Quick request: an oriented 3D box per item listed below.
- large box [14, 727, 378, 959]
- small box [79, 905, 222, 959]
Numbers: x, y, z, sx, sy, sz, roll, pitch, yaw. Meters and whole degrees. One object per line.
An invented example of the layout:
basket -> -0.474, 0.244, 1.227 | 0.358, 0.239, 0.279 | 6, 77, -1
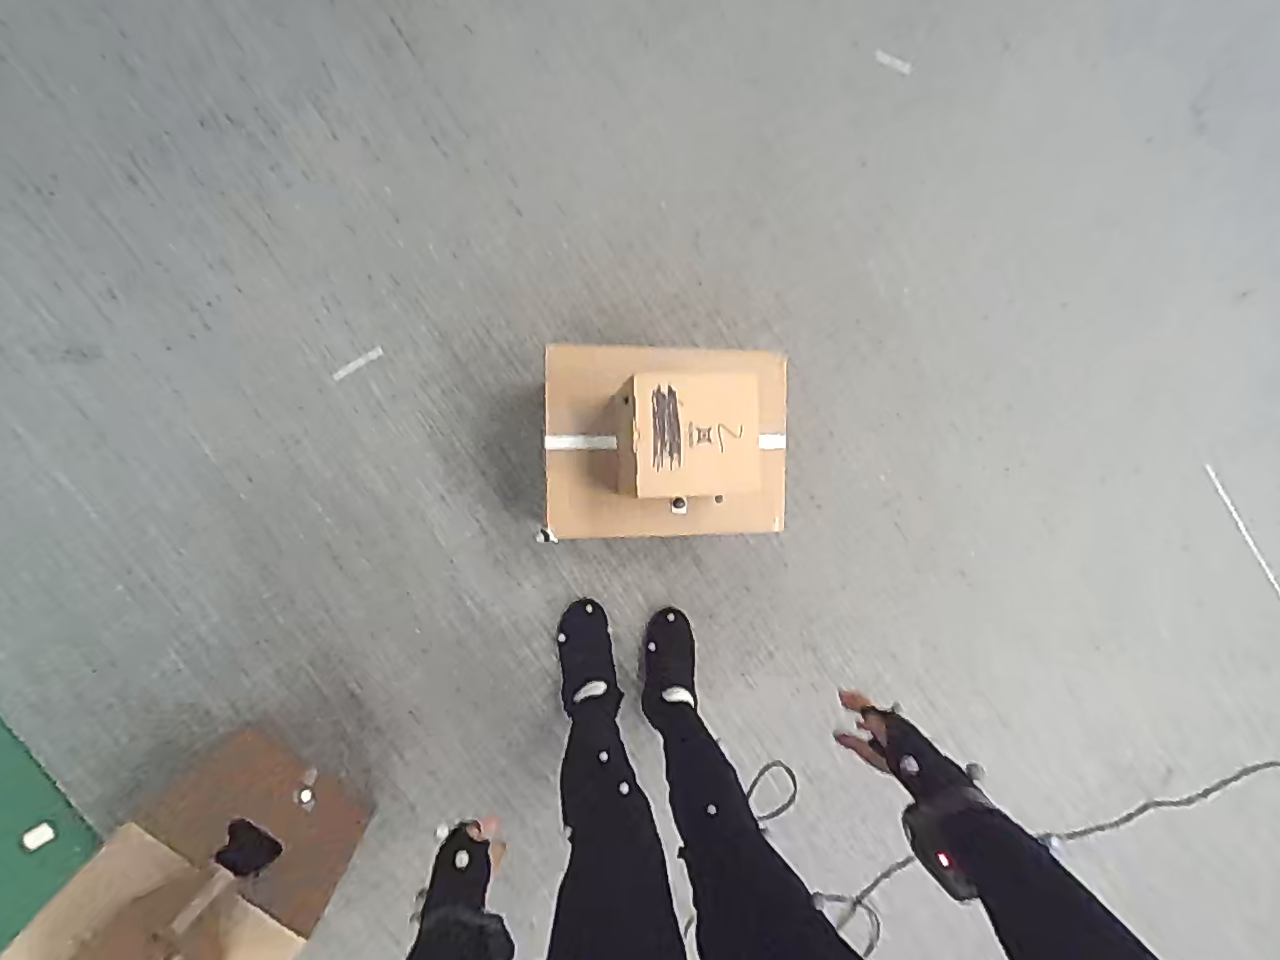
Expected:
large box -> -0.737, 0.723, 0.909 | 0.320, 0.320, 0.408 | 42, 85, -6
small box -> -0.679, 0.700, 0.670 | 0.168, 0.176, 0.179 | 45, 83, -8
